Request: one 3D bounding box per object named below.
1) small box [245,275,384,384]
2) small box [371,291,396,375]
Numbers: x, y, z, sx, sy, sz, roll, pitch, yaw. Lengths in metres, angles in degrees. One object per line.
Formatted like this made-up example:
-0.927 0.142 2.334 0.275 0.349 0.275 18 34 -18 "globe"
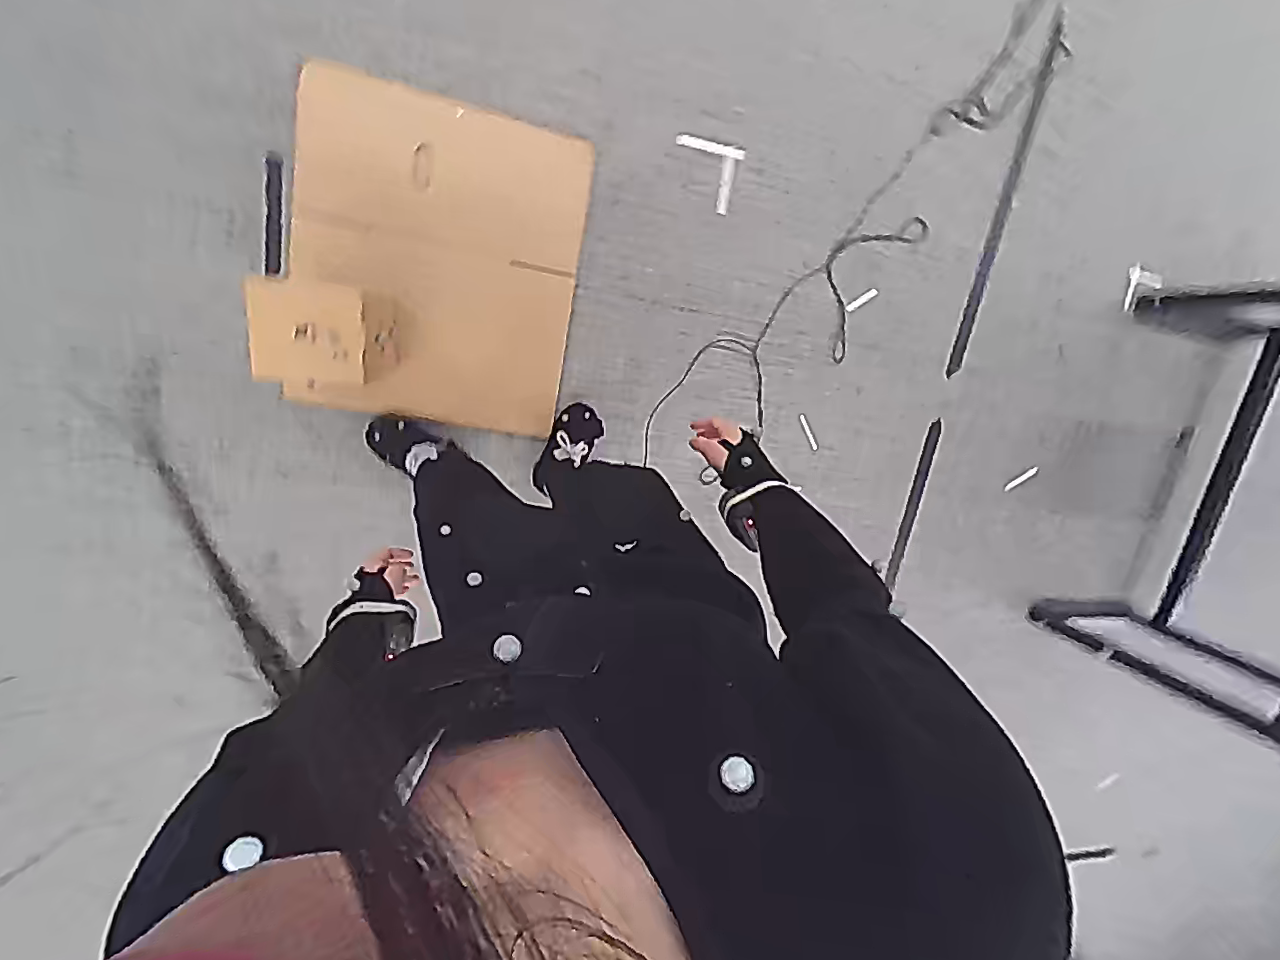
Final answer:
-0.581 -0.270 0.986 0.179 0.176 0.168 1 105 -15 "small box"
-0.620 -0.315 1.140 0.179 0.176 0.168 -1 105 -16 "small box"
